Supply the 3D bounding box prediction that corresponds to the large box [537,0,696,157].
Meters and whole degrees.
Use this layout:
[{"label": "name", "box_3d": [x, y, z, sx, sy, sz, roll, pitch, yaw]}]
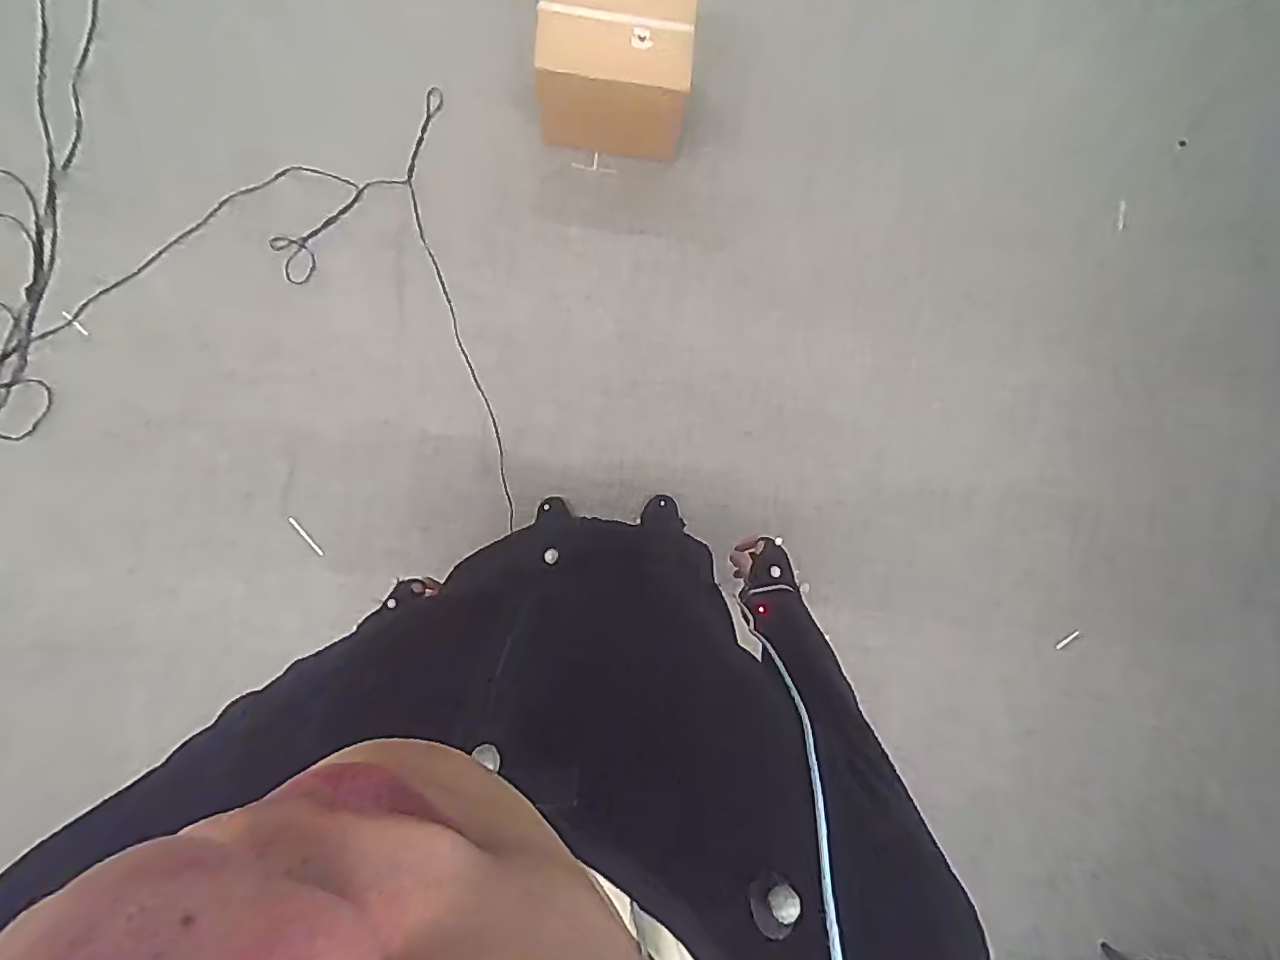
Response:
[{"label": "large box", "box_3d": [-0.070, -1.174, 1.535, 0.408, 0.320, 0.320, 5, 89, -5]}]
